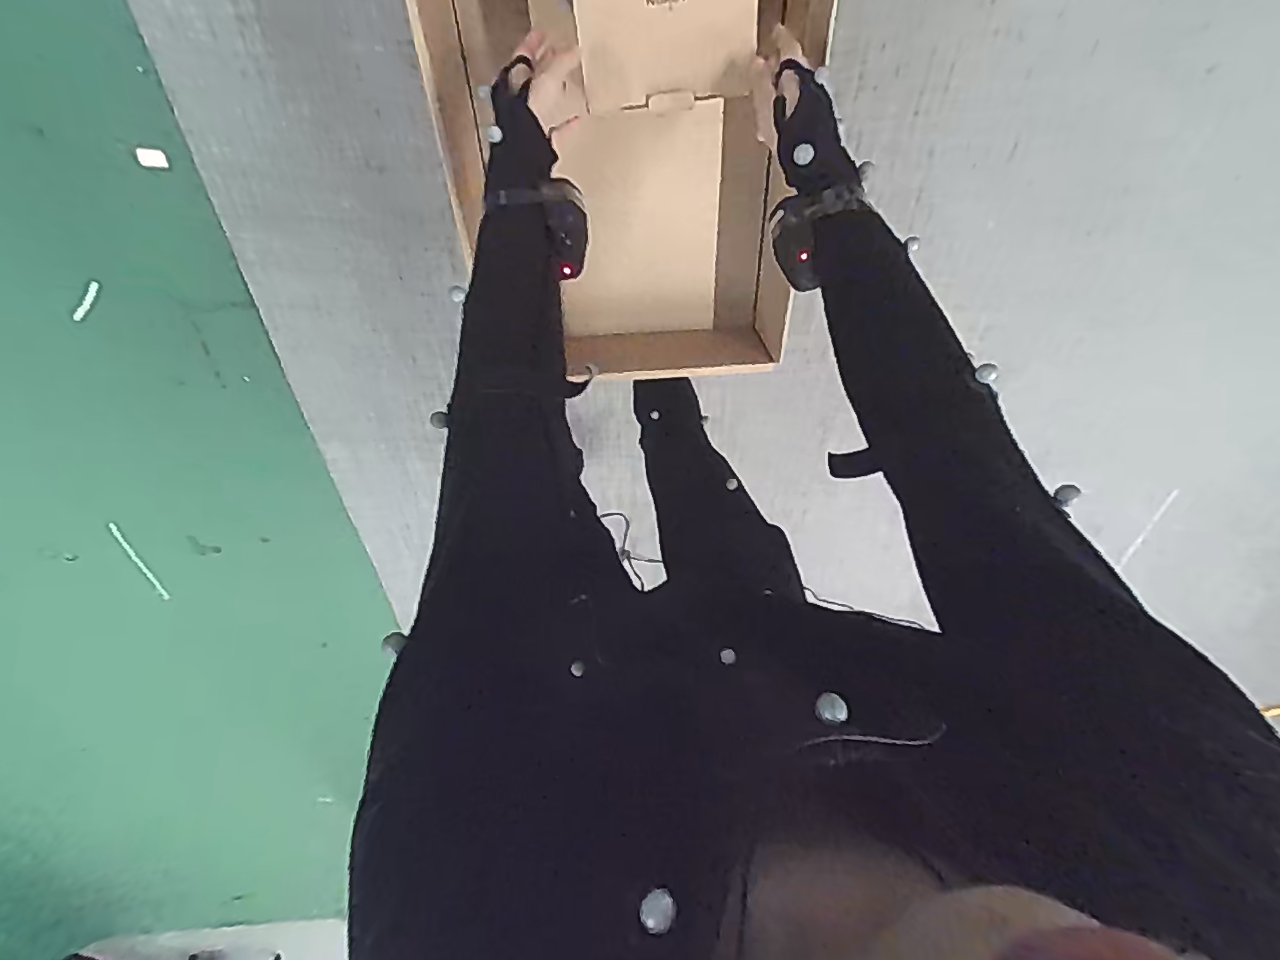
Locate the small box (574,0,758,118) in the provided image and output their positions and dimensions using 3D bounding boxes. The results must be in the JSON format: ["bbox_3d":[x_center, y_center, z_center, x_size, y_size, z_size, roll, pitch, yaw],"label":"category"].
[{"bbox_3d":[0.018,-0.480,0.533,0.168,0.176,0.179,-7,130,0],"label":"small box"}]
